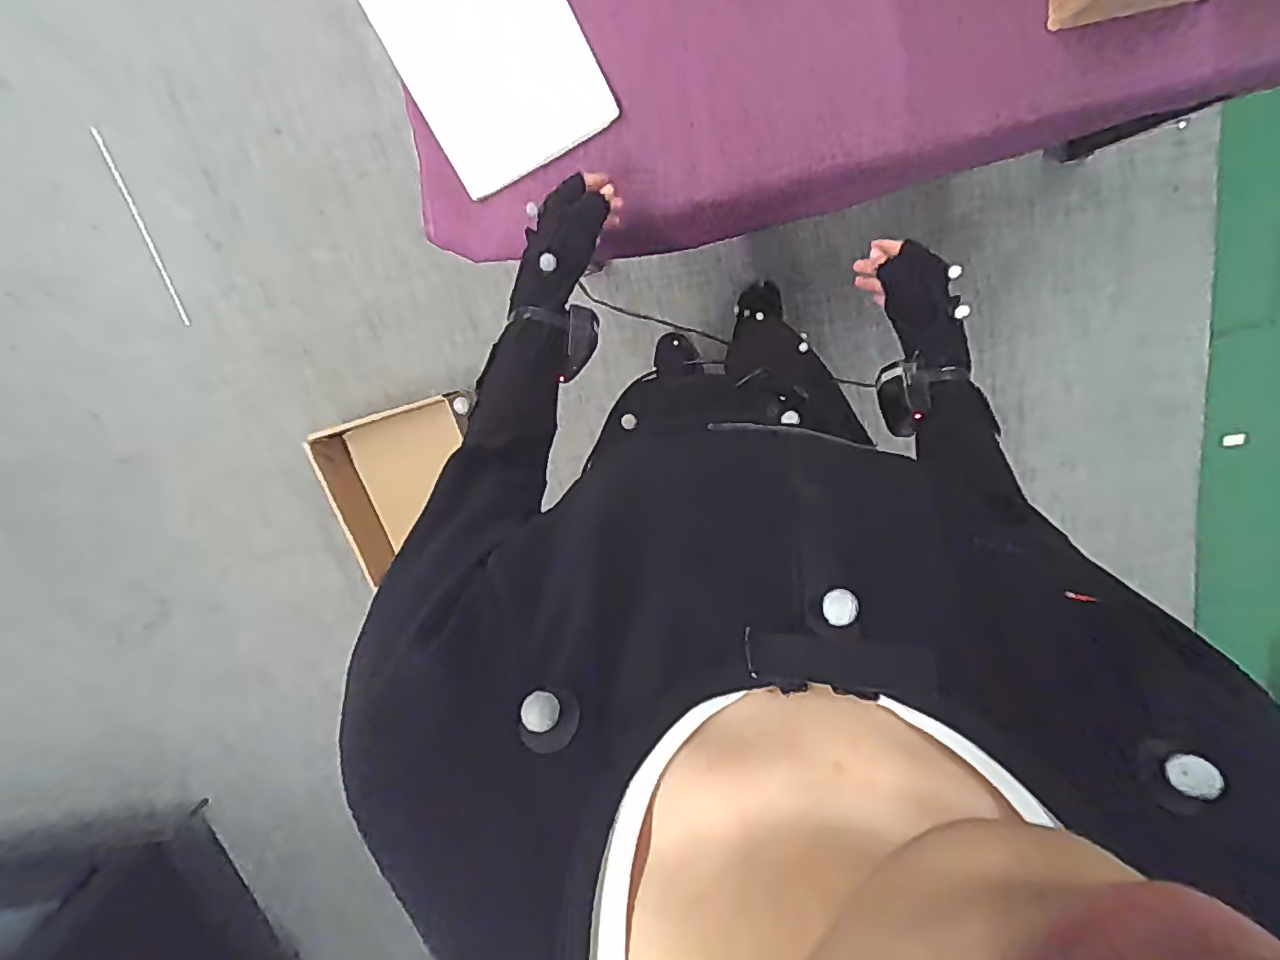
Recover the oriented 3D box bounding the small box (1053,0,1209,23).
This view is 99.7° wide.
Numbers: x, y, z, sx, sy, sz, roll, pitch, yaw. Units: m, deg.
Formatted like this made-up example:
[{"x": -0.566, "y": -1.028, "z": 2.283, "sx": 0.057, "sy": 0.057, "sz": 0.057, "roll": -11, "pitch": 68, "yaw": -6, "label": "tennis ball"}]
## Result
[{"x": 0.492, "y": -0.532, "z": 0.458, "sx": 0.168, "sy": 0.176, "sz": 0.179, "roll": -7, "pitch": 107, "yaw": 6, "label": "small box"}]
